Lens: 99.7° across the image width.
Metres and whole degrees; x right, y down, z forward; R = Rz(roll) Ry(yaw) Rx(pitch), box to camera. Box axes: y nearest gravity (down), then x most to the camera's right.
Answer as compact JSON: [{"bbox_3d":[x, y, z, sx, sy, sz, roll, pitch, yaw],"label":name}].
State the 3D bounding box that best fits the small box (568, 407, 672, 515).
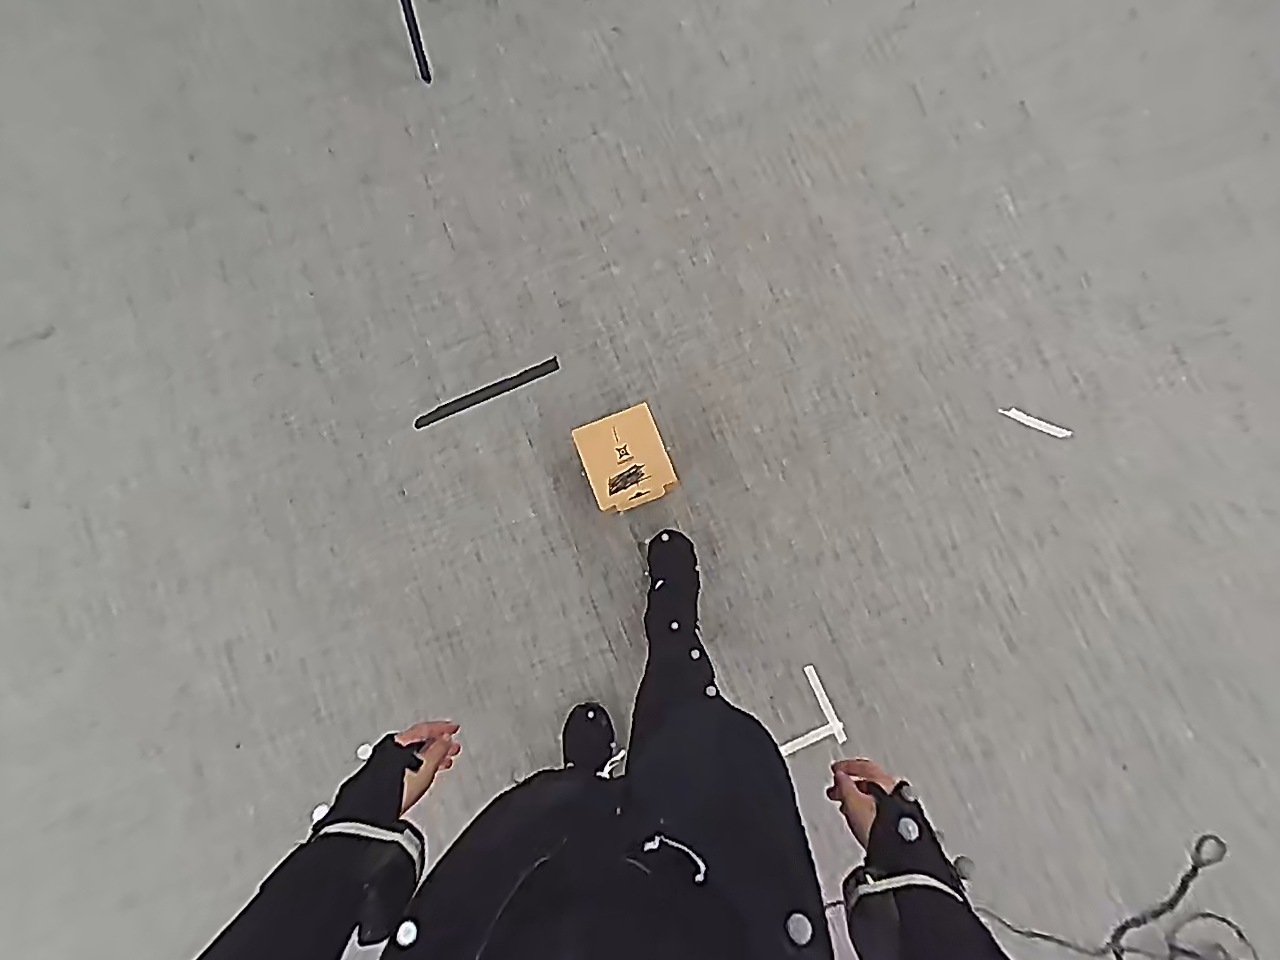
[{"bbox_3d":[-0.038,-0.032,1.150,0.168,0.176,0.179,-22,83,-2],"label":"small box"}]
